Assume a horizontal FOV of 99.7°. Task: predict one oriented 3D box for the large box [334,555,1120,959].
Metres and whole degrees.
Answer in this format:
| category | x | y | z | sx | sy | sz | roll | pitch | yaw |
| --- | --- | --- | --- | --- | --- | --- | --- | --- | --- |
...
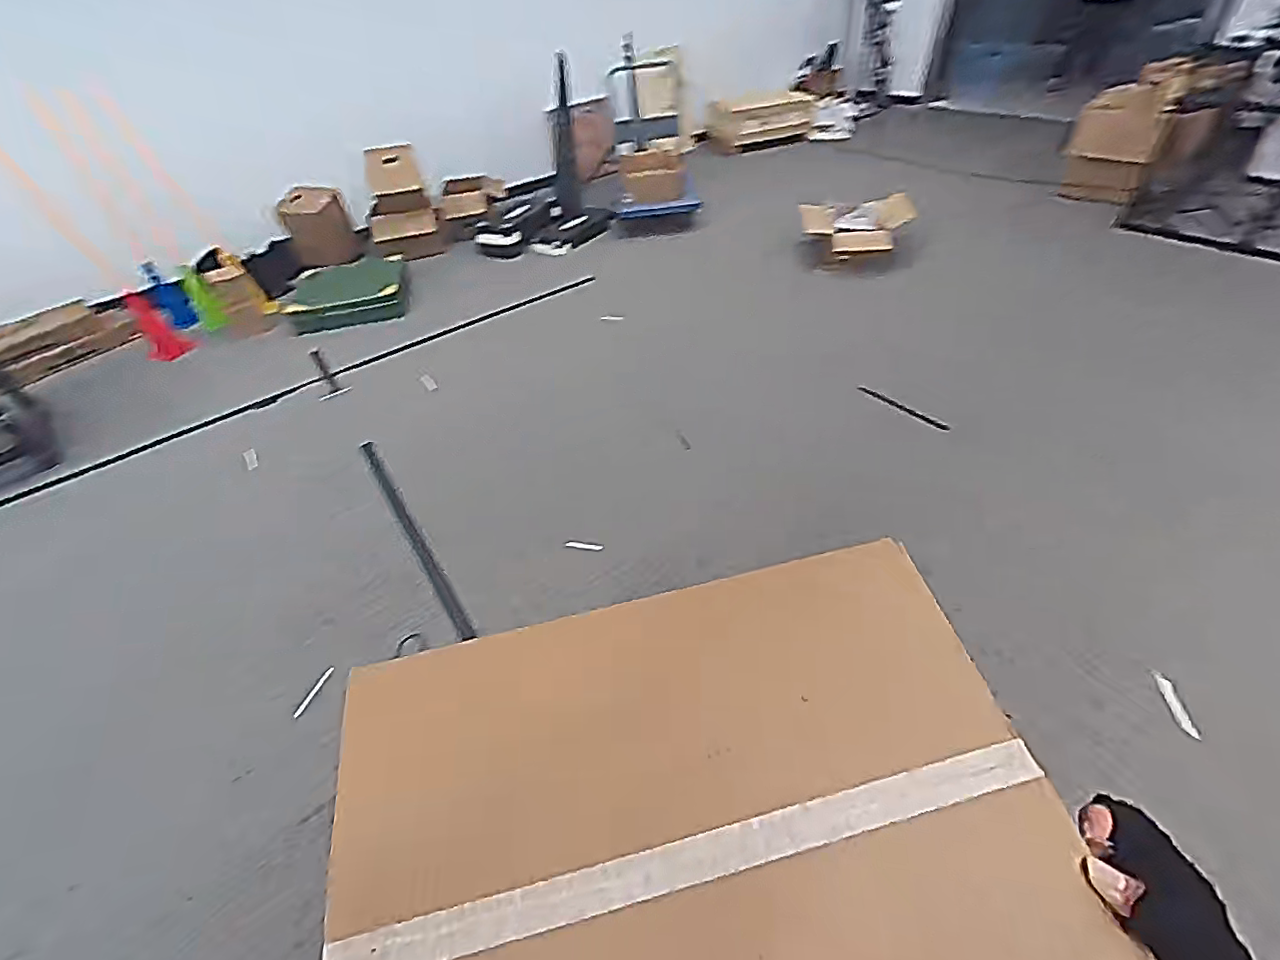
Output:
| category | x | y | z | sx | sy | sz | roll | pitch | yaw |
| --- | --- | --- | --- | --- | --- | --- | --- | --- | --- |
| large box | 0.039 | 0.308 | 0.425 | 0.408 | 0.320 | 0.320 | -14 | 53 | -6 |
